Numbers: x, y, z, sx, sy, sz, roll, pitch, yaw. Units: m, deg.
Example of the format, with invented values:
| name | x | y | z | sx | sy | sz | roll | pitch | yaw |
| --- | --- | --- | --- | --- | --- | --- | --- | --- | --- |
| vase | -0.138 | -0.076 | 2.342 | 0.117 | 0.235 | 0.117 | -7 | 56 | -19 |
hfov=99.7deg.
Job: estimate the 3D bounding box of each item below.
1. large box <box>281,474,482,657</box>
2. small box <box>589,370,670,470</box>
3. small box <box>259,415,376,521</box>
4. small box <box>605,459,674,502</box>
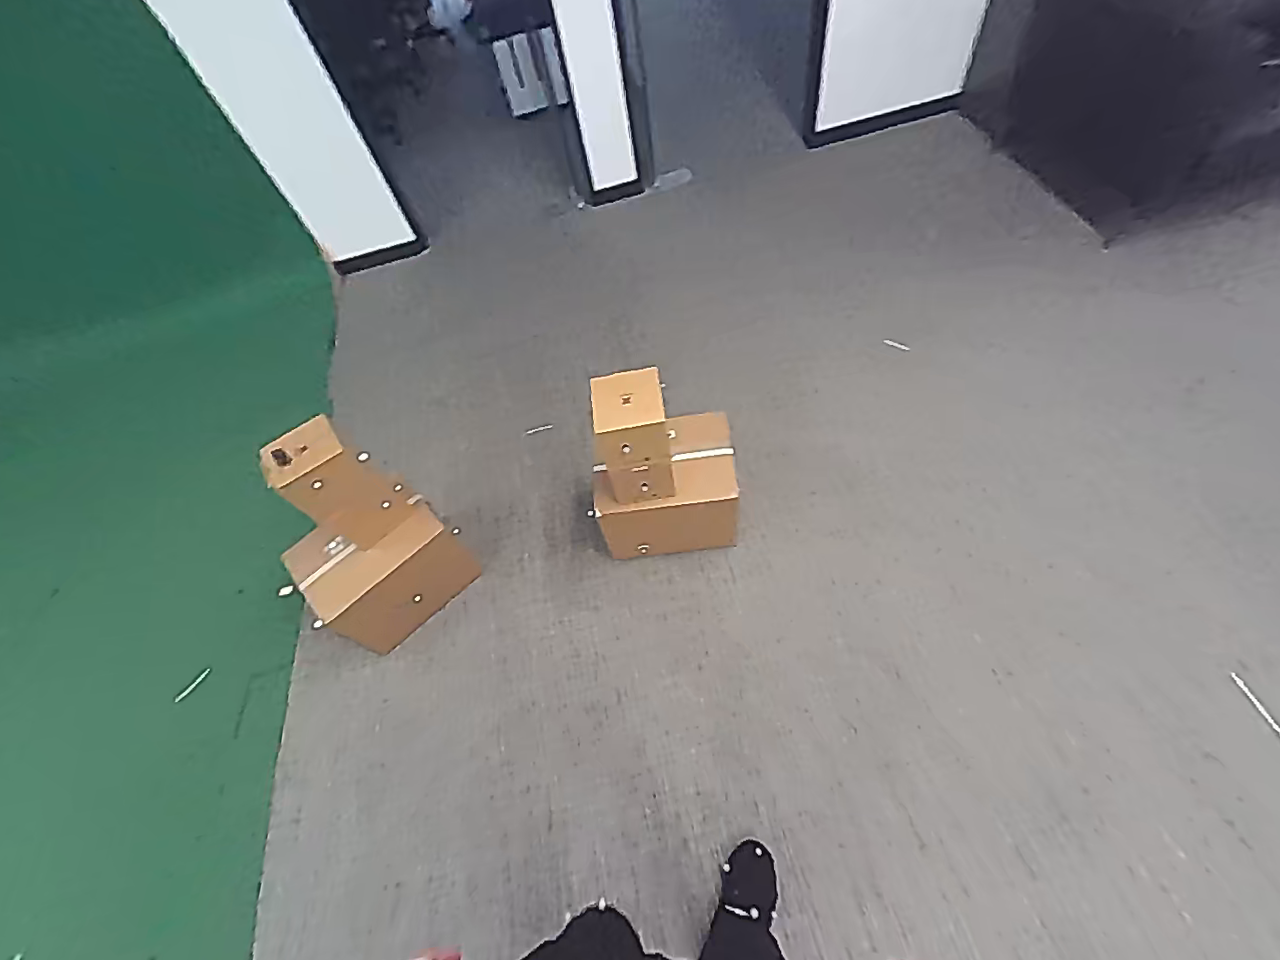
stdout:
| name | x | y | z | sx | sy | sz | roll | pitch | yaw |
| --- | --- | --- | --- | --- | --- | --- | --- | --- | --- |
| large box | -0.784 | 0.268 | 1.687 | 0.408 | 0.320 | 0.320 | -43 | 59 | -16 |
| small box | -0.023 | -0.140 | 1.334 | 0.168 | 0.176 | 0.179 | -10 | 56 | 4 |
| small box | -0.824 | -0.025 | 1.391 | 0.179 | 0.176 | 0.168 | -36 | 59 | -14 |
| small box | -0.004 | -0.053 | 1.471 | 0.168 | 0.176 | 0.179 | -9 | 58 | 3 |
